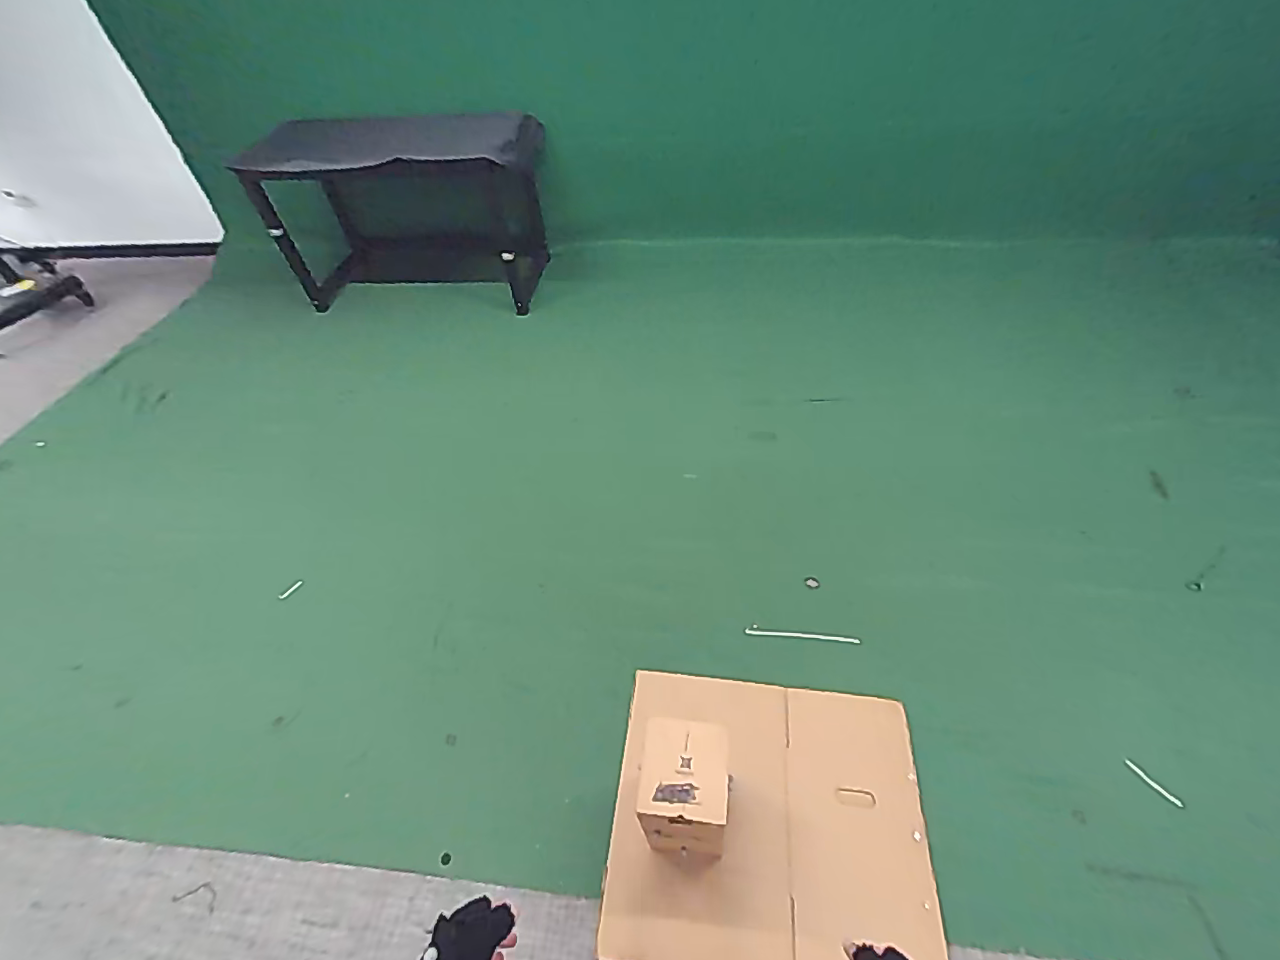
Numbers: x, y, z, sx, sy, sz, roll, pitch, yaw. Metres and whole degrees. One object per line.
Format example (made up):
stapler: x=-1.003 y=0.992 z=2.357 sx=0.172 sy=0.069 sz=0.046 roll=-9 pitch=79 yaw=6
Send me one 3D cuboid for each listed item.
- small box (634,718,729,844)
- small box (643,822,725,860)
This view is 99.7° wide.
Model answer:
small box: x=0.089 y=0.602 z=1.077 sx=0.168 sy=0.176 sz=0.179 roll=4 pitch=47 yaw=9
small box: x=0.103 y=0.714 z=1.196 sx=0.168 sy=0.176 sz=0.179 roll=2 pitch=48 yaw=9
